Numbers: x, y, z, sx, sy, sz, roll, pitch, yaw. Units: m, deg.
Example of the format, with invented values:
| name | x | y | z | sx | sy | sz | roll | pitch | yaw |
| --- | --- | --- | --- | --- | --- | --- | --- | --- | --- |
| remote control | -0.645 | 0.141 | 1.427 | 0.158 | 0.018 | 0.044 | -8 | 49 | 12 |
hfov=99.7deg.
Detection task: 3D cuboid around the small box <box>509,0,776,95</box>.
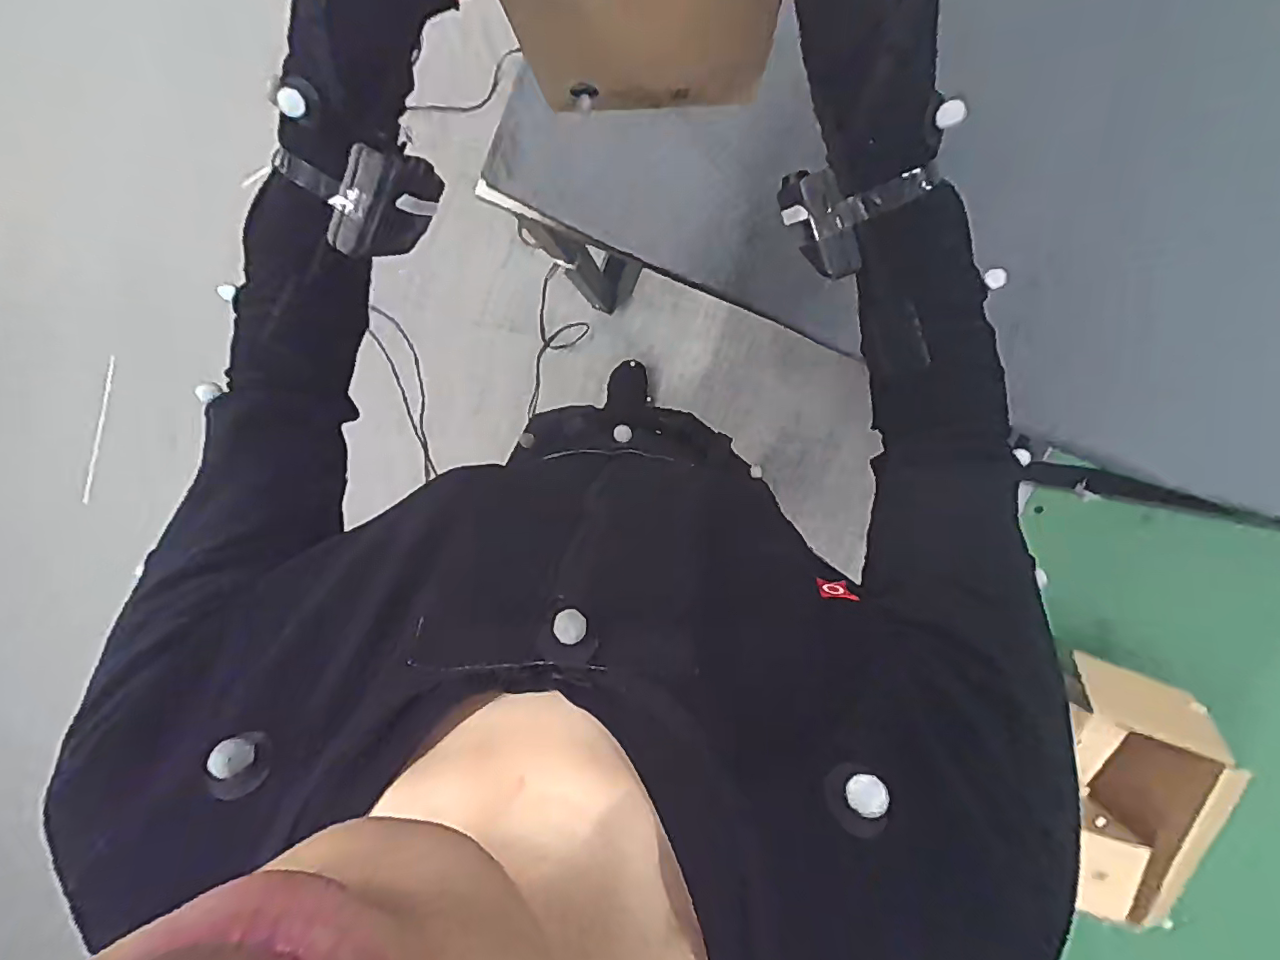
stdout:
| name | x | y | z | sx | sy | sz | roll | pitch | yaw |
| --- | --- | --- | --- | --- | --- | --- | --- | --- | --- |
| small box | 0.005 | -0.370 | 0.334 | 0.168 | 0.176 | 0.179 | 1 | 99 | 4 |
